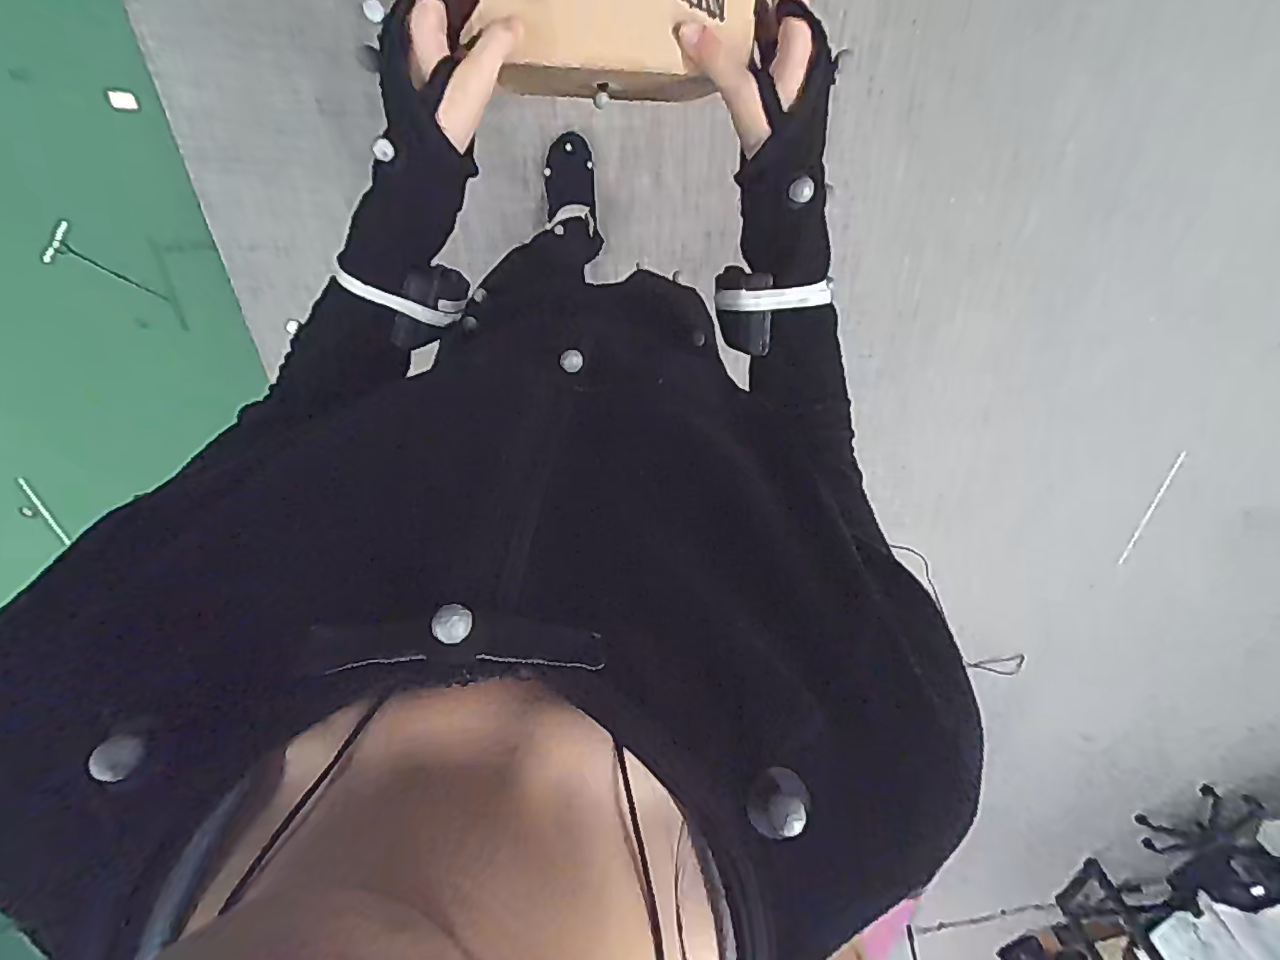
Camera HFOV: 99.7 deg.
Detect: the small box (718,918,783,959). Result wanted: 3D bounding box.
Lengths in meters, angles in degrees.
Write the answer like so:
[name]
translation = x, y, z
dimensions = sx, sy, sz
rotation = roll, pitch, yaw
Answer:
[small box]
translation = 0.349, 1.502, 1.688
dimensions = 0.179, 0.176, 0.168
rotation = -3, 123, -2
